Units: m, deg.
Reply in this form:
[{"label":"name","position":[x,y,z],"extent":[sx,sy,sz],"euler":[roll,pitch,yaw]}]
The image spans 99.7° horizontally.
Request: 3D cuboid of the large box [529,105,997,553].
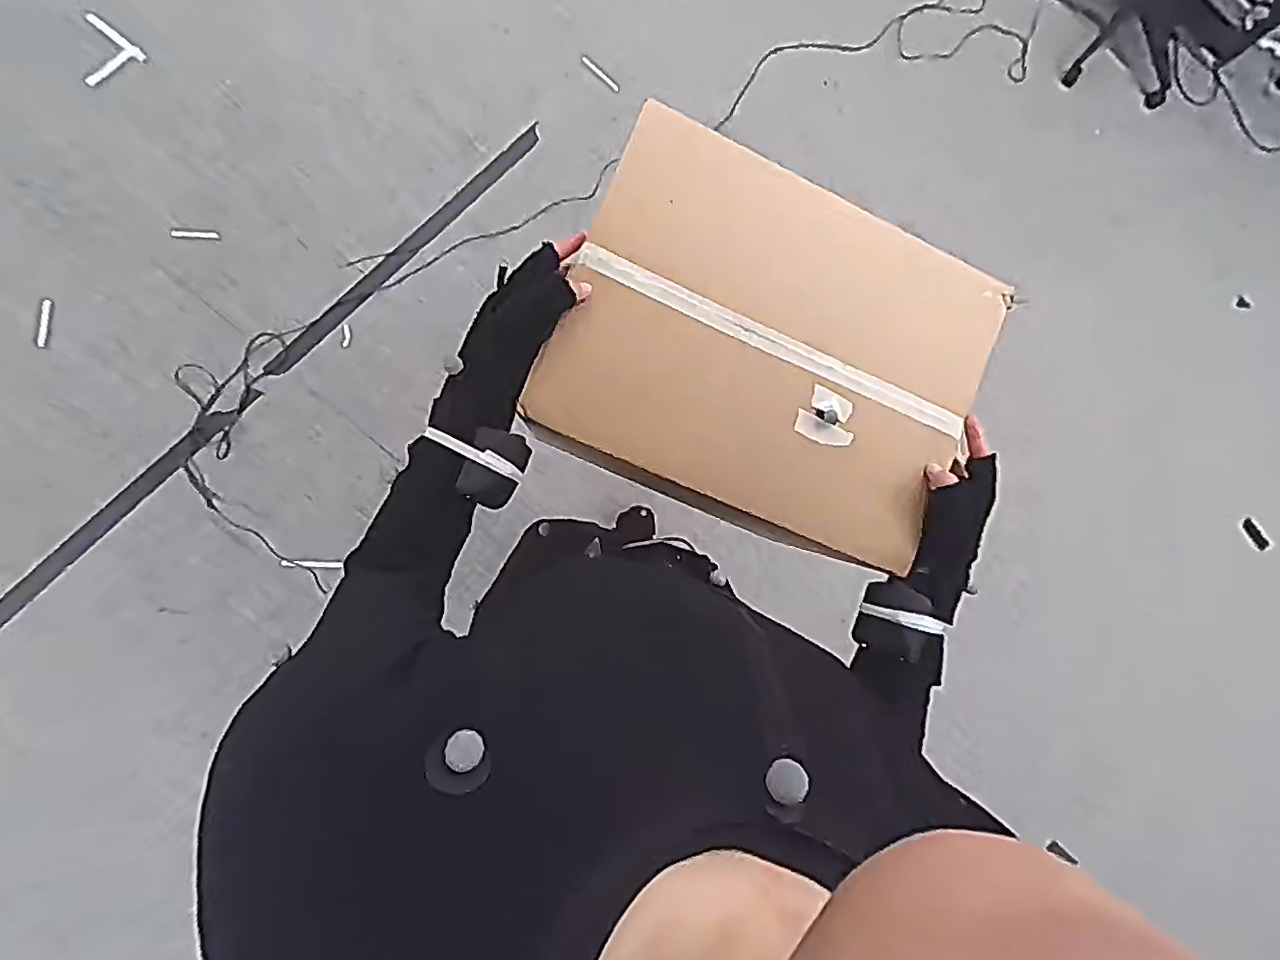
[{"label":"large box","position":[0.109,-0.140,0.668],"extent":[0.408,0.320,0.320],"euler":[23,88,-8]}]
